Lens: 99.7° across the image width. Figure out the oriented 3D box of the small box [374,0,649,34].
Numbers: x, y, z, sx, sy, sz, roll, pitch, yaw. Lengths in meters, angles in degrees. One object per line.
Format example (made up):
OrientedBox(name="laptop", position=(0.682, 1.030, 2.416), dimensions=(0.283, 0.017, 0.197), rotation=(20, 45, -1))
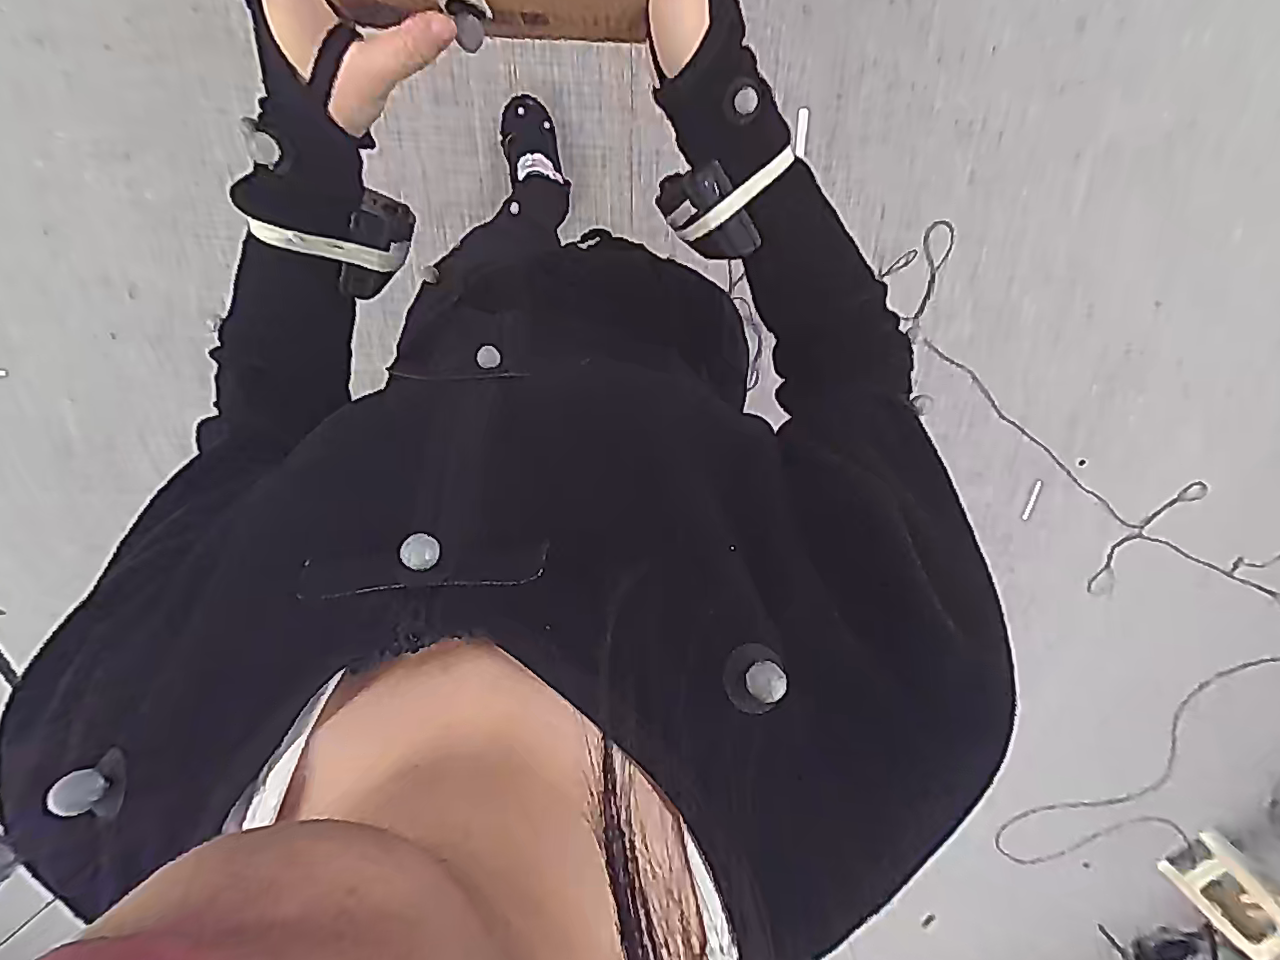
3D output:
OrientedBox(name="small box", position=(-0.073, -0.318, 0.209), dimensions=(0.168, 0.176, 0.179), rotation=(0, 110, -1))
